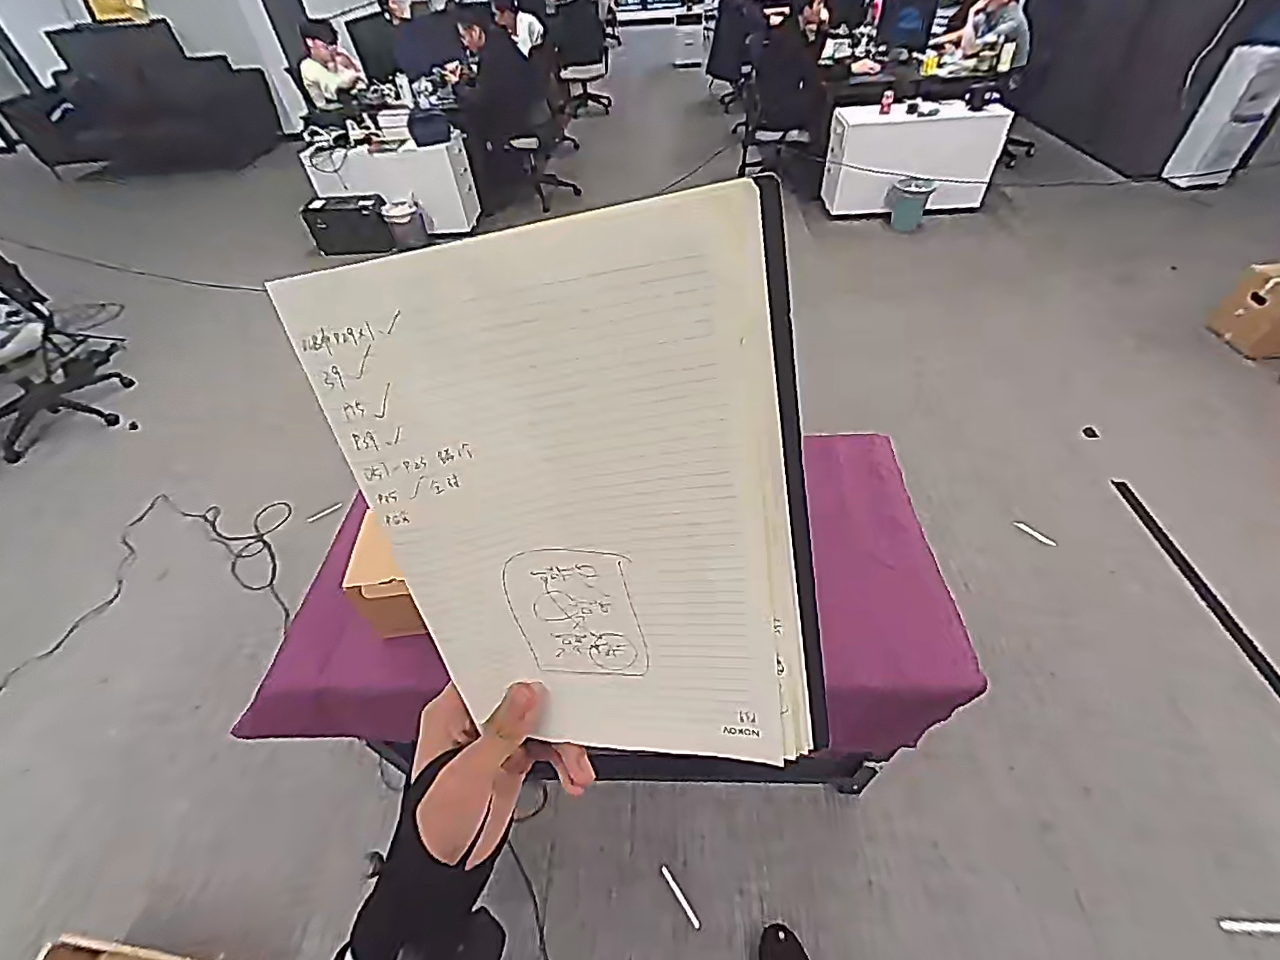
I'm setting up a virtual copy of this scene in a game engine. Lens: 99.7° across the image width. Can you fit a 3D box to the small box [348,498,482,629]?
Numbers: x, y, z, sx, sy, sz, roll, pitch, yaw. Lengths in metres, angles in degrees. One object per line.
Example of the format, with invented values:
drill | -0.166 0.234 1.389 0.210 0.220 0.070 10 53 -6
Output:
small box | -0.397 0.159 0.991 0.168 0.176 0.179 -6 46 -2
